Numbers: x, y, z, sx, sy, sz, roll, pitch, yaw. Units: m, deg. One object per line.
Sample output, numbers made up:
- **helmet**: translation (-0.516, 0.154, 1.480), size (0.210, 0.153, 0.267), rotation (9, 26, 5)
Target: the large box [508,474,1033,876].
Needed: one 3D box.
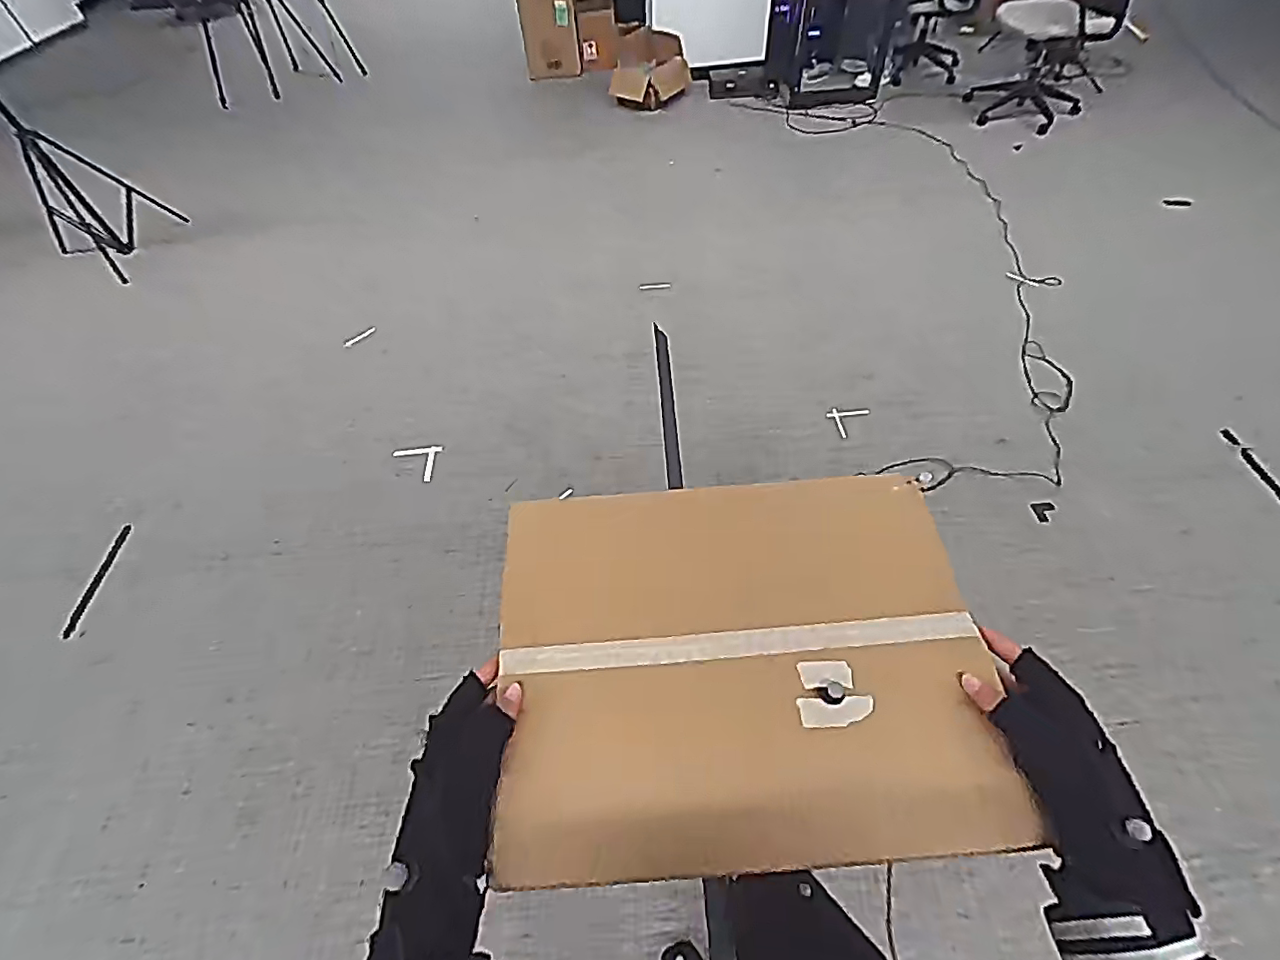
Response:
- **large box**: translation (0.089, 0.219, 0.602), size (0.408, 0.320, 0.320), rotation (-5, 59, -1)
